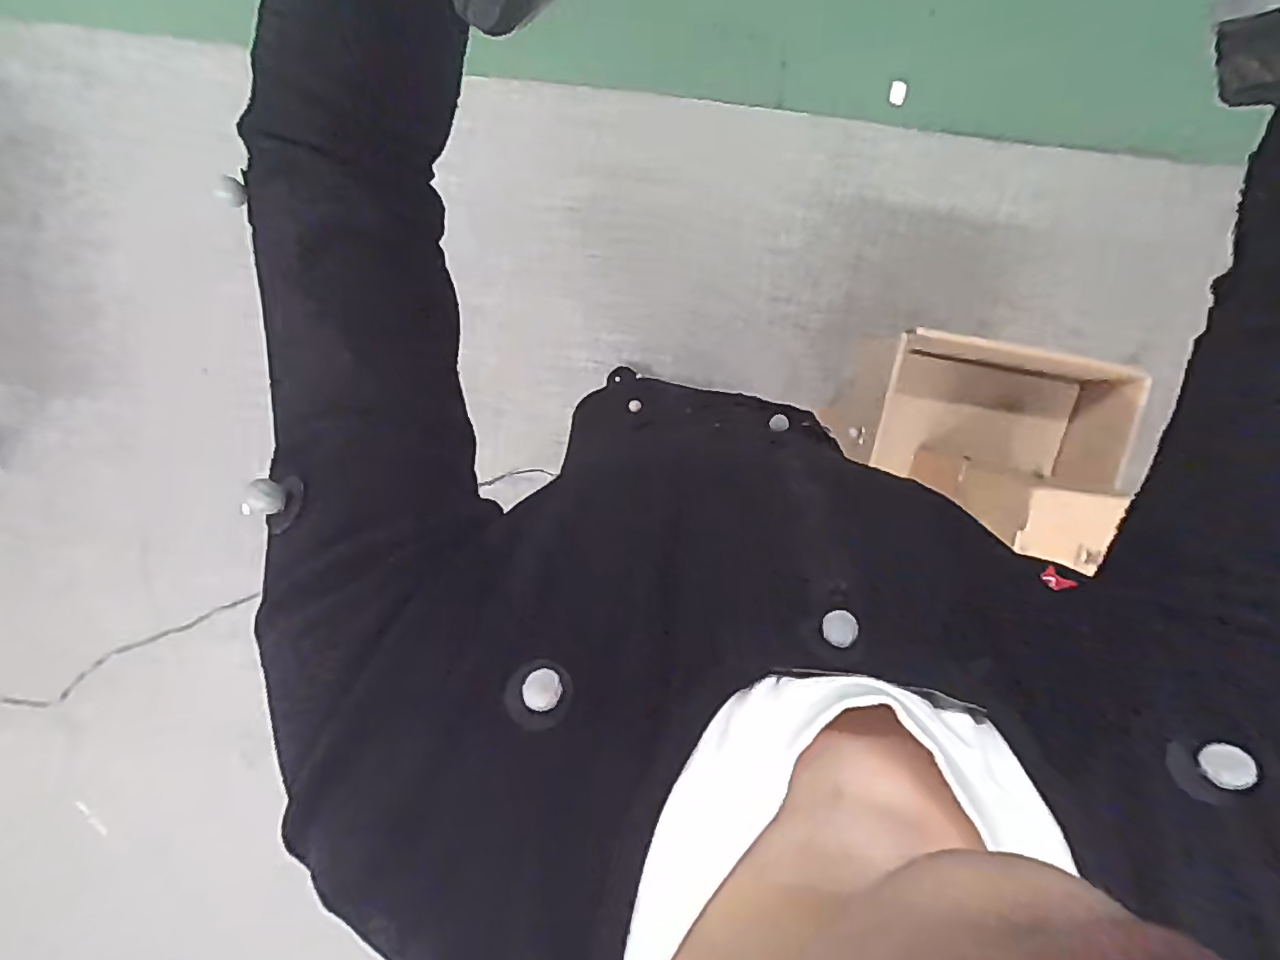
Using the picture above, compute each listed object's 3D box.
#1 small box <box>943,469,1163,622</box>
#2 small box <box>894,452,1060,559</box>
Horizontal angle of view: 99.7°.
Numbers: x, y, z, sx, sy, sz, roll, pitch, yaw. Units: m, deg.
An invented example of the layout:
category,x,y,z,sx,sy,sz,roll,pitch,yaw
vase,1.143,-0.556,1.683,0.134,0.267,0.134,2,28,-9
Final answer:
category,x,y,z,sx,sy,sz,roll,pitch,yaw
small box,0.580,0.084,0.789,0.179,0.176,0.168,8,102,2
small box,0.579,0.050,0.949,0.179,0.176,0.168,10,102,-1
